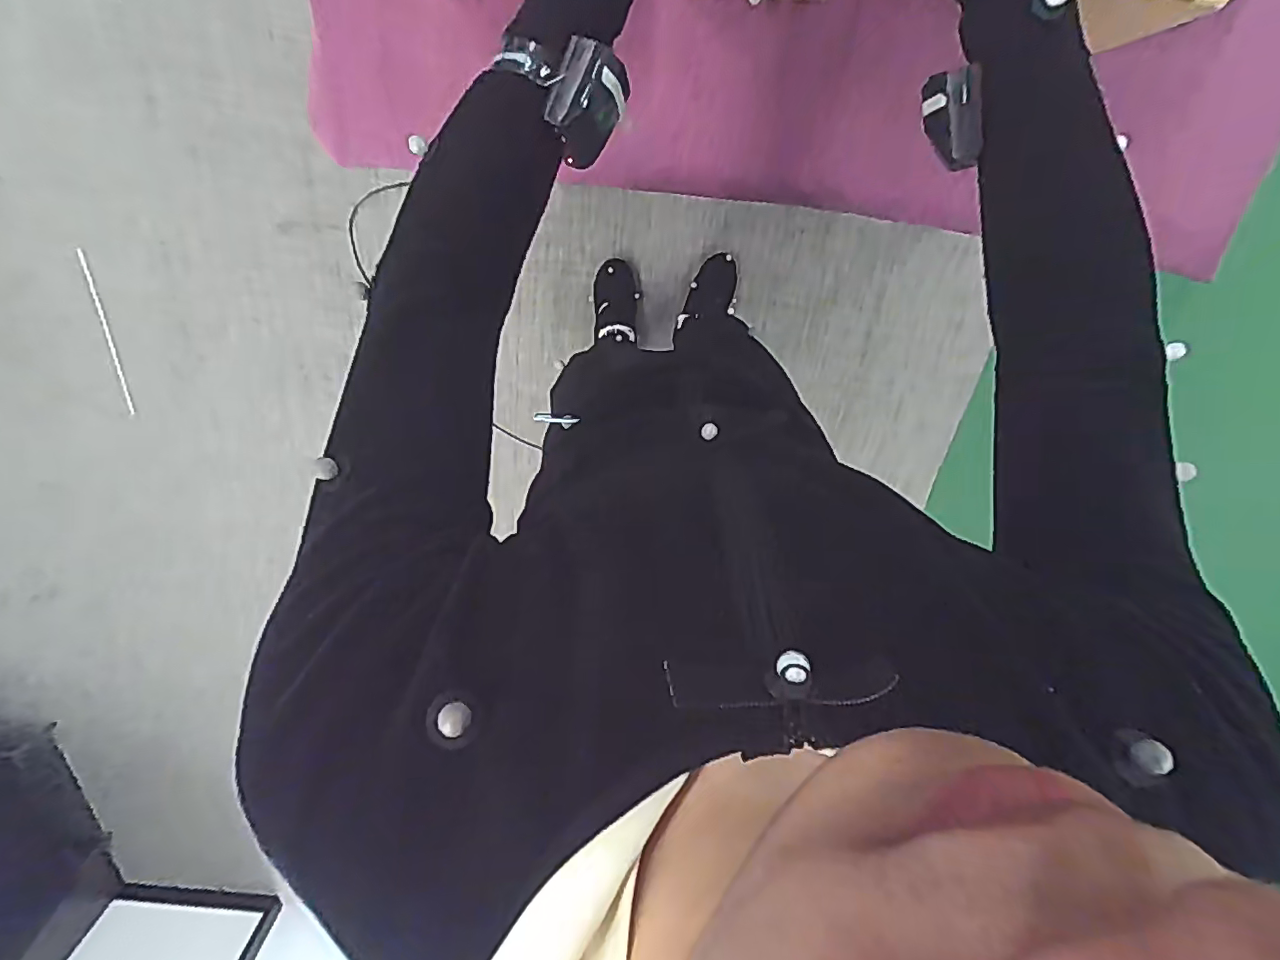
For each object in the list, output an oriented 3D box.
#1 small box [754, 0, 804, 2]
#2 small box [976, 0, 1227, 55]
[{"bbox_3d":[0.133,-0.599,0.524,0.179,0.176,0.168,3,116,0],"label":"small box"},{"bbox_3d":[0.476,-0.560,0.532,0.168,0.176,0.179,10,117,-2],"label":"small box"}]
